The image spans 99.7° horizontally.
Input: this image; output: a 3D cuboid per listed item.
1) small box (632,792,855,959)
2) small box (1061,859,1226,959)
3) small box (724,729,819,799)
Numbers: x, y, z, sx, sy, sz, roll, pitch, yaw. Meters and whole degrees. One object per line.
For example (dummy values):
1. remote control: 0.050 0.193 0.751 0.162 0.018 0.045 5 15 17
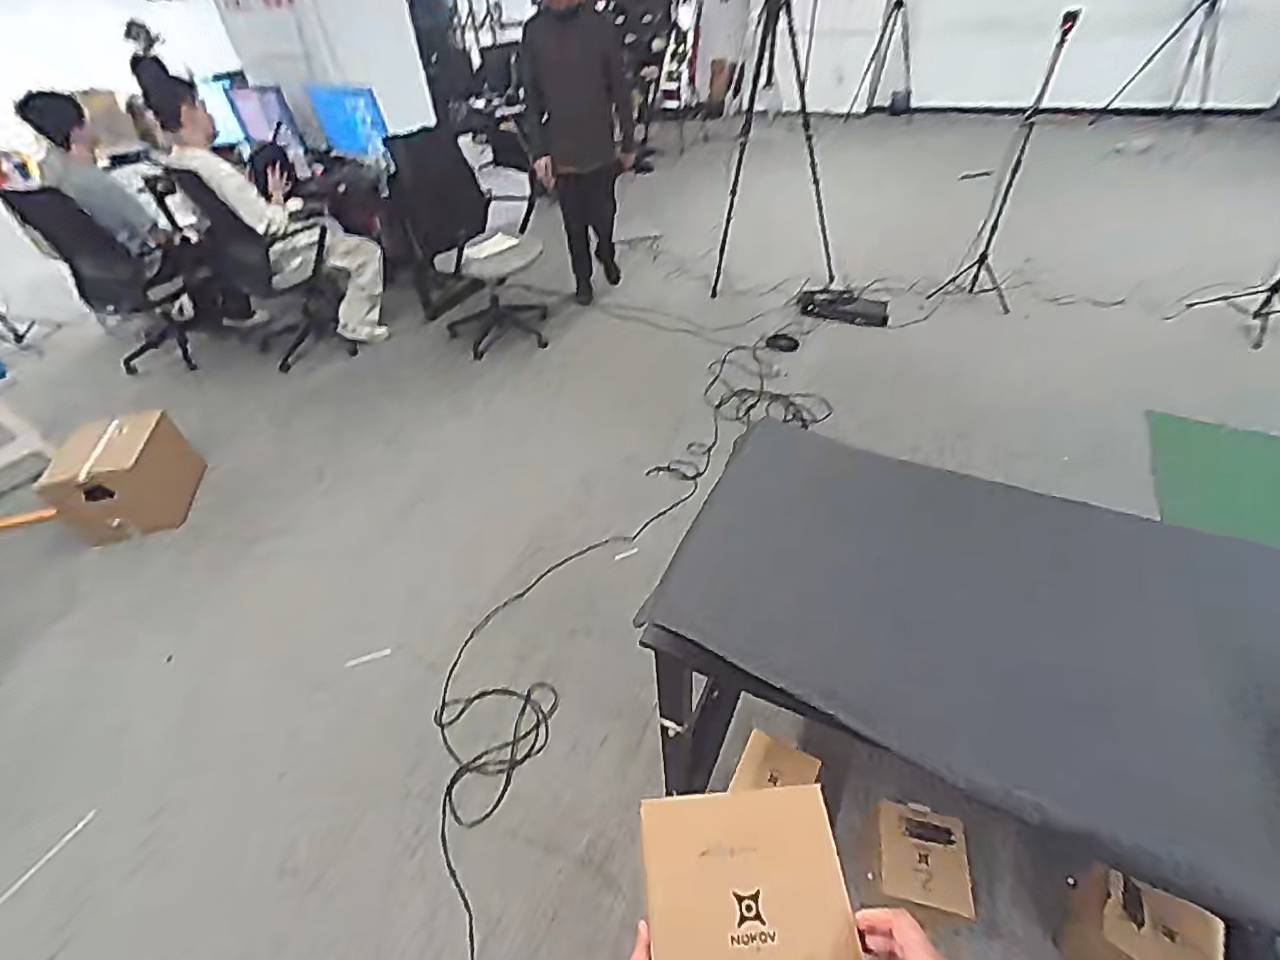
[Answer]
1. small box: 0.082 0.400 0.484 0.168 0.176 0.179 -3 49 -3
2. small box: 0.956 0.886 1.038 0.179 0.176 0.168 28 51 29
3. small box: 0.305 0.735 1.268 0.168 0.176 0.179 19 46 25
